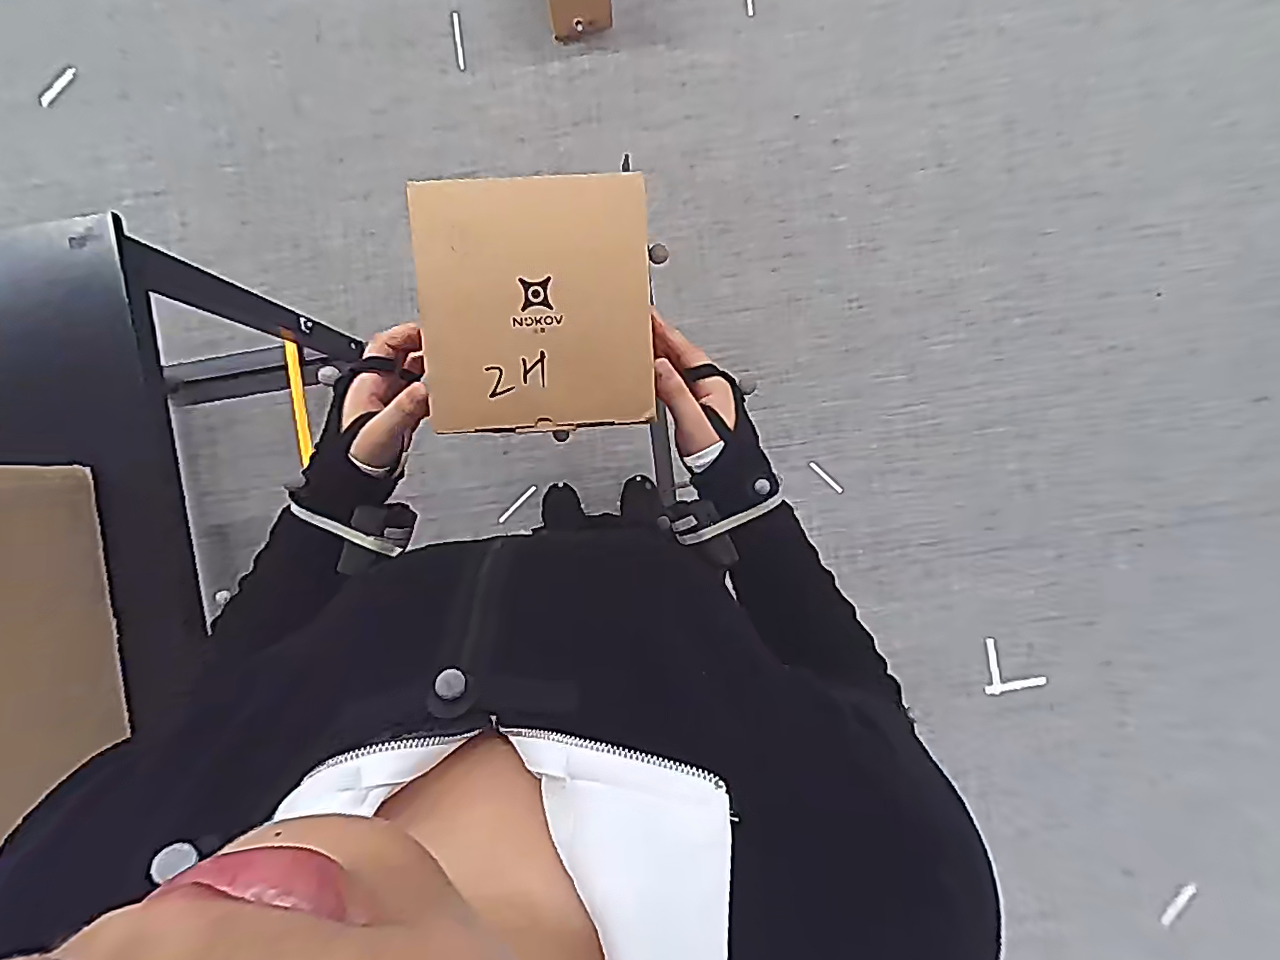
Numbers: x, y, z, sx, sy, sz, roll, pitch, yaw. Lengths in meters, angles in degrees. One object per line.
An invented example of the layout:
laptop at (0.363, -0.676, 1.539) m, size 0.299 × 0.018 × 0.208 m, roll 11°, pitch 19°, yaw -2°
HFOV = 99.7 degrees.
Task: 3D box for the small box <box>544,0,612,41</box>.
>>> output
small box at (-0.172, -1.289, 1.386) m, size 0.168 × 0.176 × 0.179 m, roll -15°, pitch 93°, yaw 0°

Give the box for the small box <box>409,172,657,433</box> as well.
small box at (-0.075, -0.132, 0.458) m, size 0.168 × 0.176 × 0.179 m, roll -3°, pitch 98°, yaw -1°
